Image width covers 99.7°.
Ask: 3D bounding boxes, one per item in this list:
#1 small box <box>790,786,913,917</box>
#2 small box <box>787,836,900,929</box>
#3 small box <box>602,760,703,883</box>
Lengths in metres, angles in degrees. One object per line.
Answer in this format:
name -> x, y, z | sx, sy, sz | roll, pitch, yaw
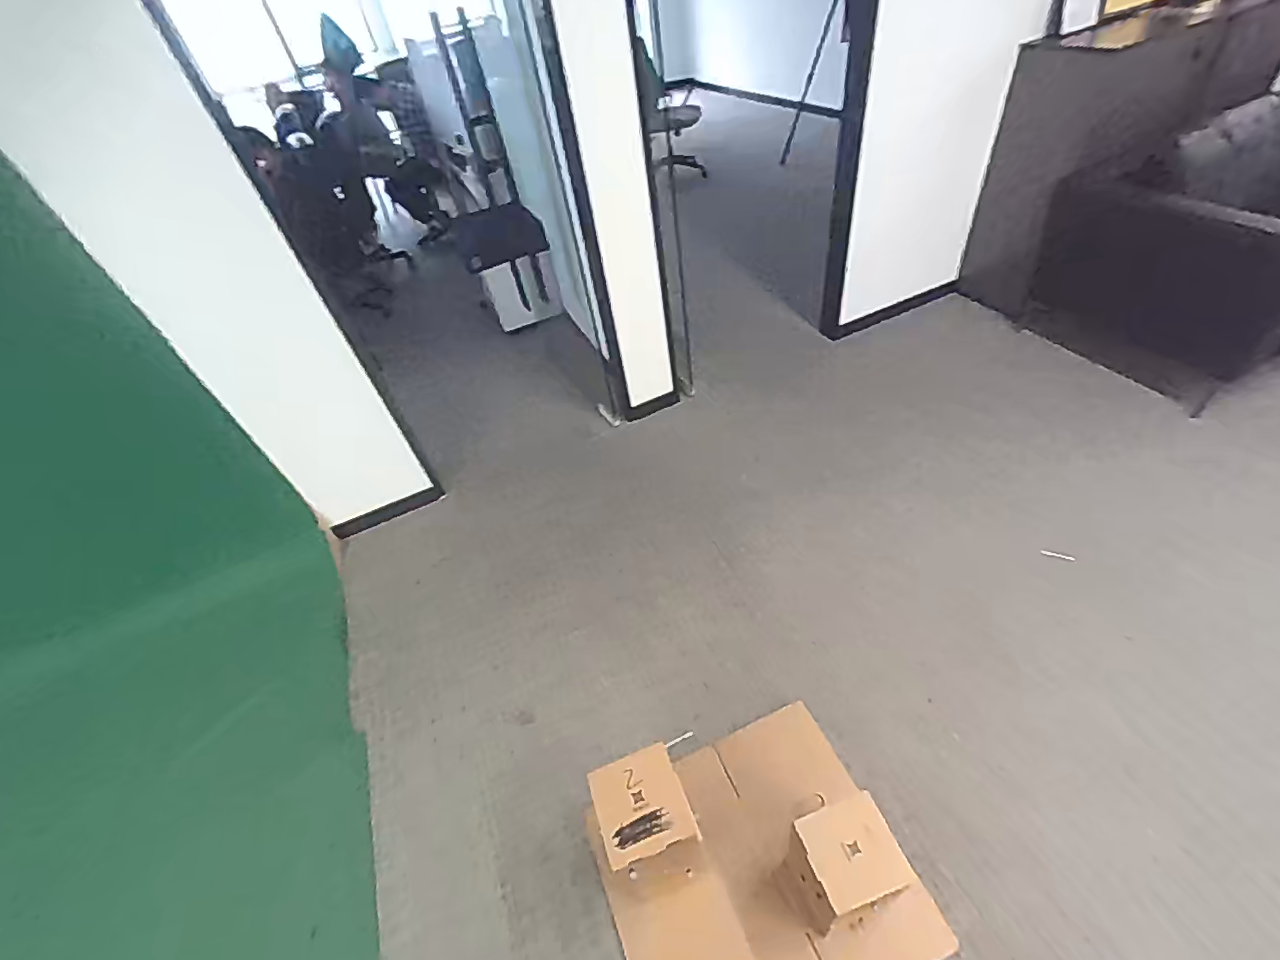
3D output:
small box -> 0.427, 0.775, 1.124 | 0.179, 0.176, 0.168 | -18, 46, -6
small box -> 0.453, 0.890, 1.238 | 0.179, 0.176, 0.168 | -20, 45, -8
small box -> 0.032, 0.766, 1.212 | 0.179, 0.176, 0.168 | -21, 46, -9
